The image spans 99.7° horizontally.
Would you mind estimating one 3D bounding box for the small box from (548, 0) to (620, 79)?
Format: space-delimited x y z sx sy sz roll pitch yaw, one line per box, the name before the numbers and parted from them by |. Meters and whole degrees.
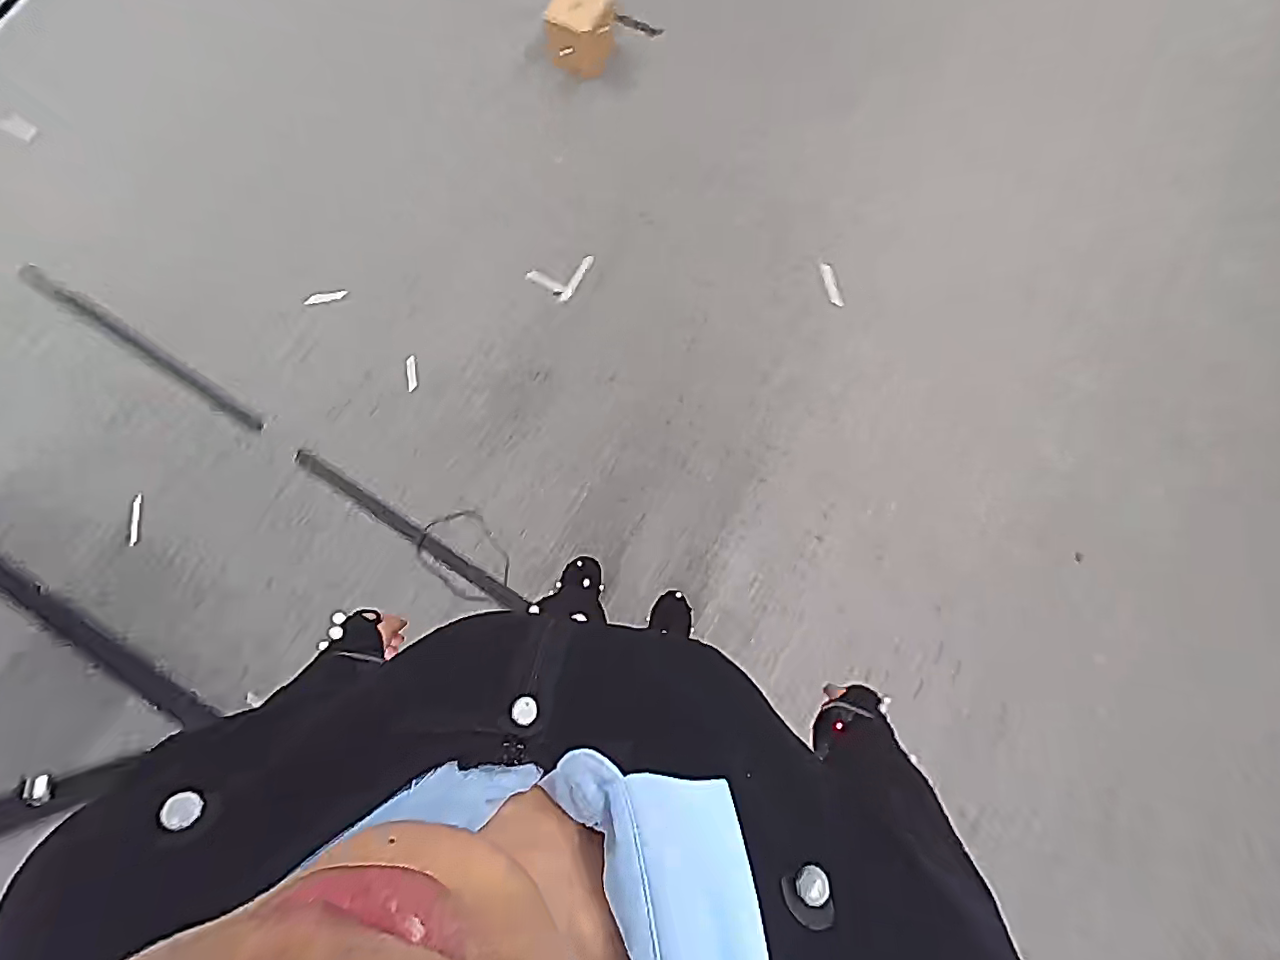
small box | -0.175 -1.483 1.786 0.168 0.176 0.179 29 81 7
